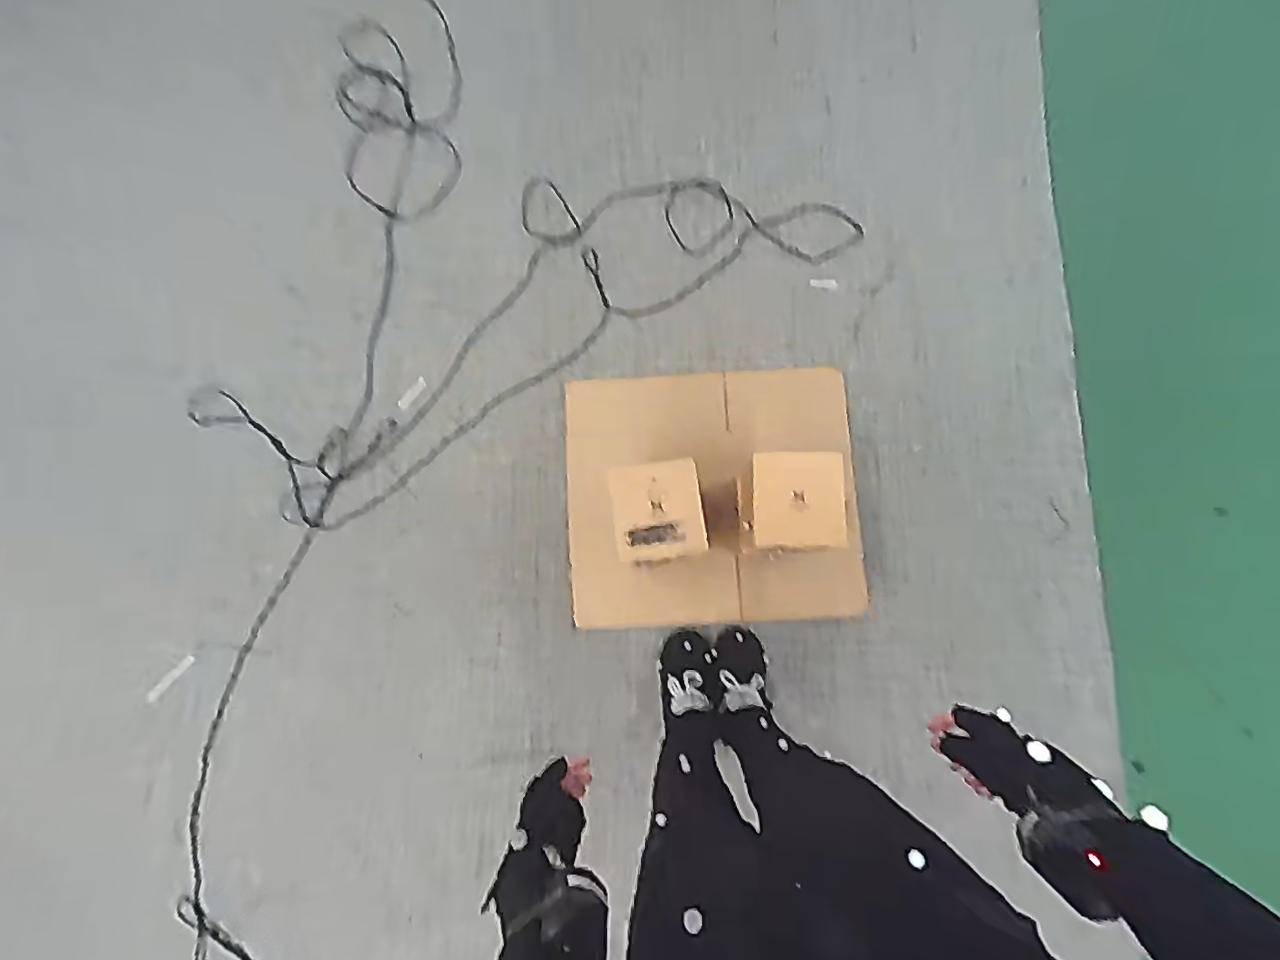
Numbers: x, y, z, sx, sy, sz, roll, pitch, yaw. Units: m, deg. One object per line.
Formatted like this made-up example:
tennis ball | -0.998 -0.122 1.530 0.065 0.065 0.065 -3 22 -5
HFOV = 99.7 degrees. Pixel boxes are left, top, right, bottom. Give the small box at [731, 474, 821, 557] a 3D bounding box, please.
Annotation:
small box | 0.300 0.082 1.221 0.168 0.176 0.179 -3 82 4

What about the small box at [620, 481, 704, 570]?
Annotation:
small box | 0.051 0.105 1.226 0.168 0.176 0.179 -7 81 2

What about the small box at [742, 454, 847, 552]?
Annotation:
small box | 0.294 0.051 1.062 0.168 0.176 0.179 0 82 3
